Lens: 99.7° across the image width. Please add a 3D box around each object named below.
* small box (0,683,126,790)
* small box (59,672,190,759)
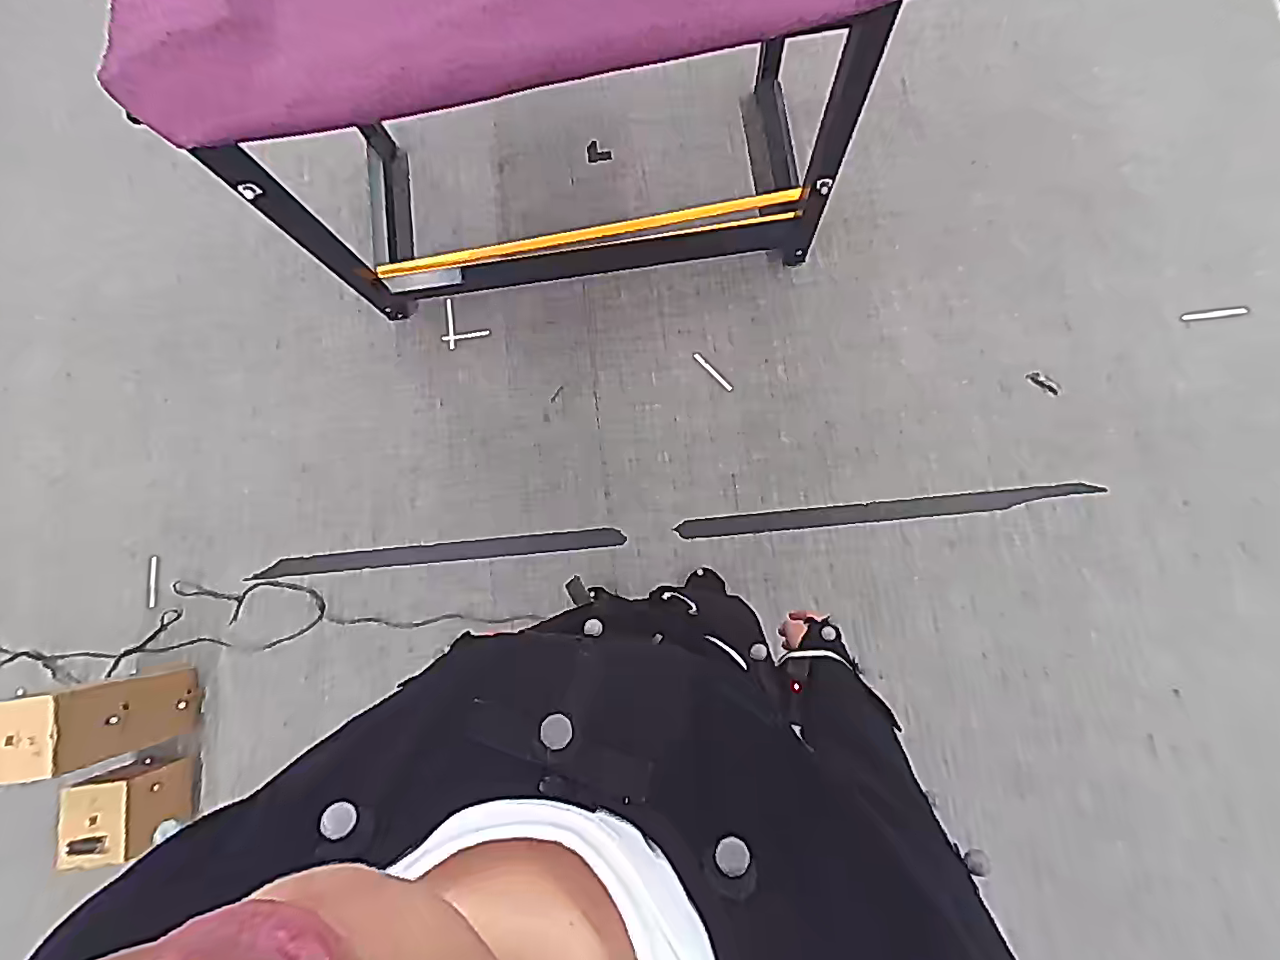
[{"bbox_3d":[-1.267,0.545,1.156,0.179,0.176,0.168,-8,81,2],"label":"small box"},{"bbox_3d":[-1.257,0.573,1.318,0.179,0.176,0.168,-7,80,2],"label":"small box"}]
